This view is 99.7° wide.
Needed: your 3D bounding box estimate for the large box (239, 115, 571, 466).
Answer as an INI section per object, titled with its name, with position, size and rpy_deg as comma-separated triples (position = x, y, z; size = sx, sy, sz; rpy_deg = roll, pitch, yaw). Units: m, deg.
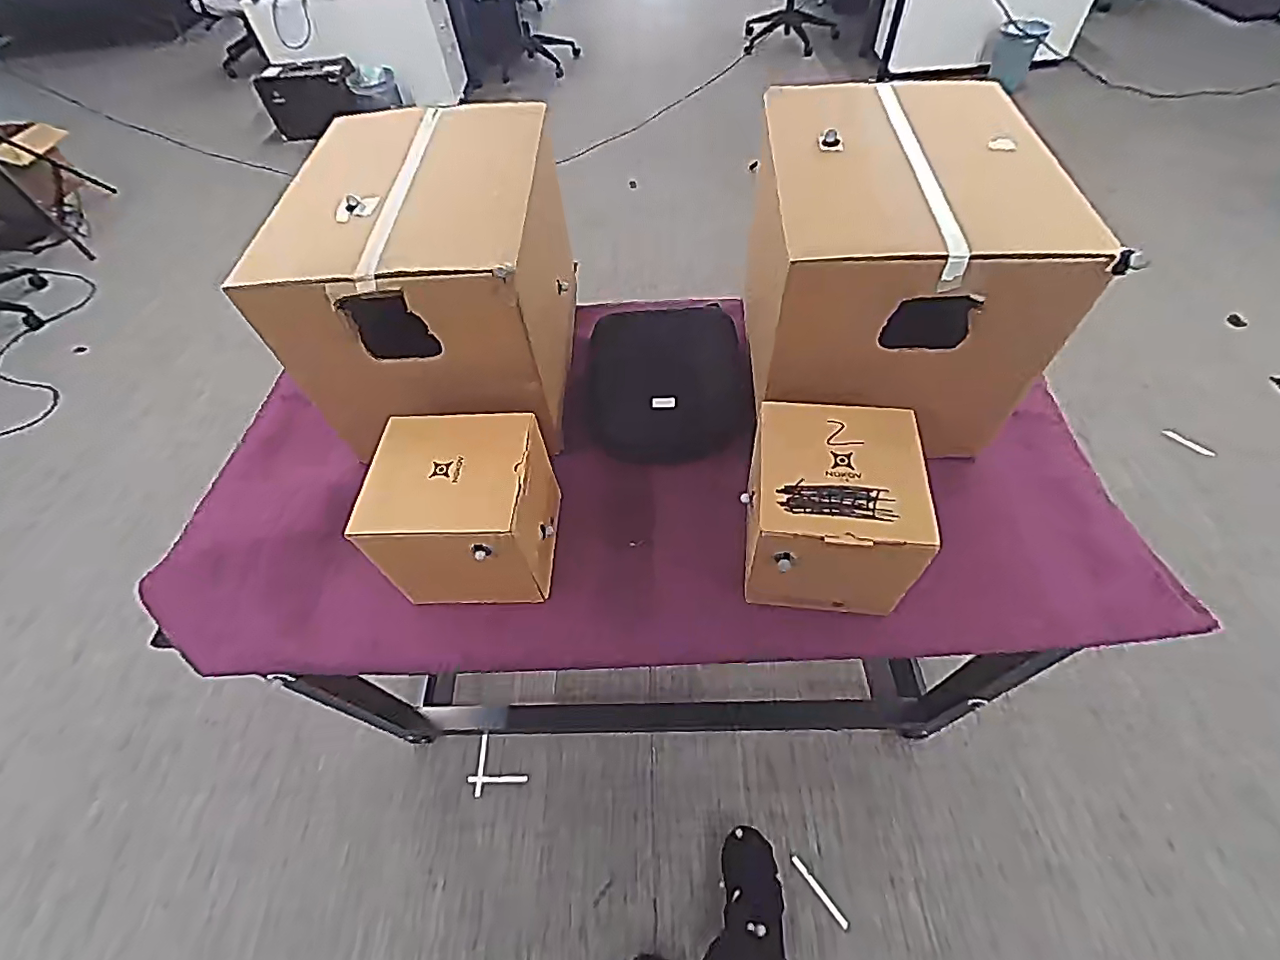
[large box]
position = -0.278, -0.274, 0.801
size = 0.320, 0.320, 0.408
rpy_deg = -4, 57, 2
